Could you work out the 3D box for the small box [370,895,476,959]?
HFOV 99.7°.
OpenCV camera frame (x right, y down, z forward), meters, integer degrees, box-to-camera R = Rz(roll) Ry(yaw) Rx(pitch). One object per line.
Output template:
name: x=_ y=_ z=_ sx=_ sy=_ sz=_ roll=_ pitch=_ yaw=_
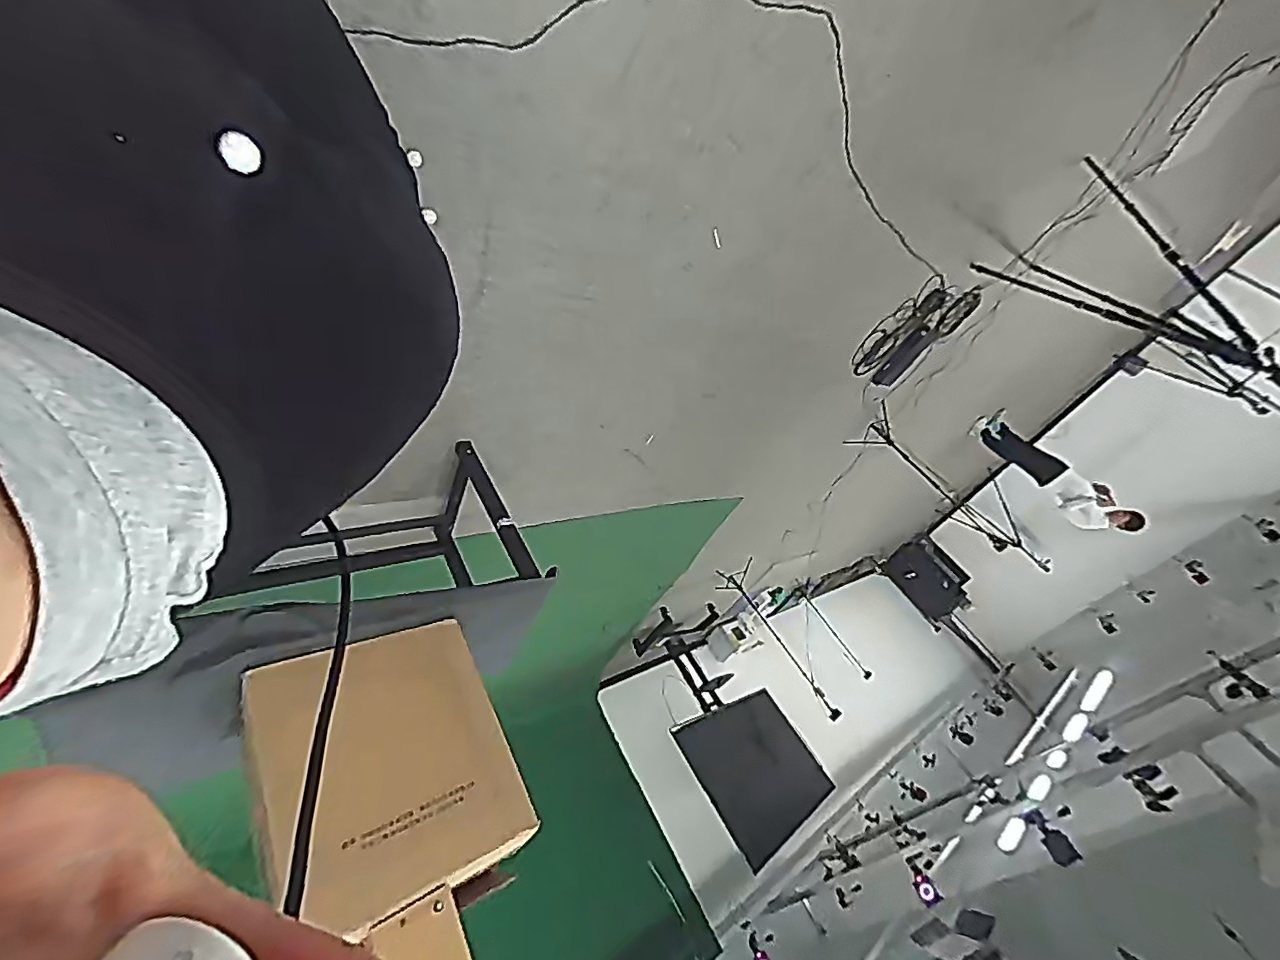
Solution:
small box: x=-0.468 y=1.037 z=1.161 sx=0.168 sy=0.176 sz=0.179 roll=-7 pitch=141 yaw=-39
